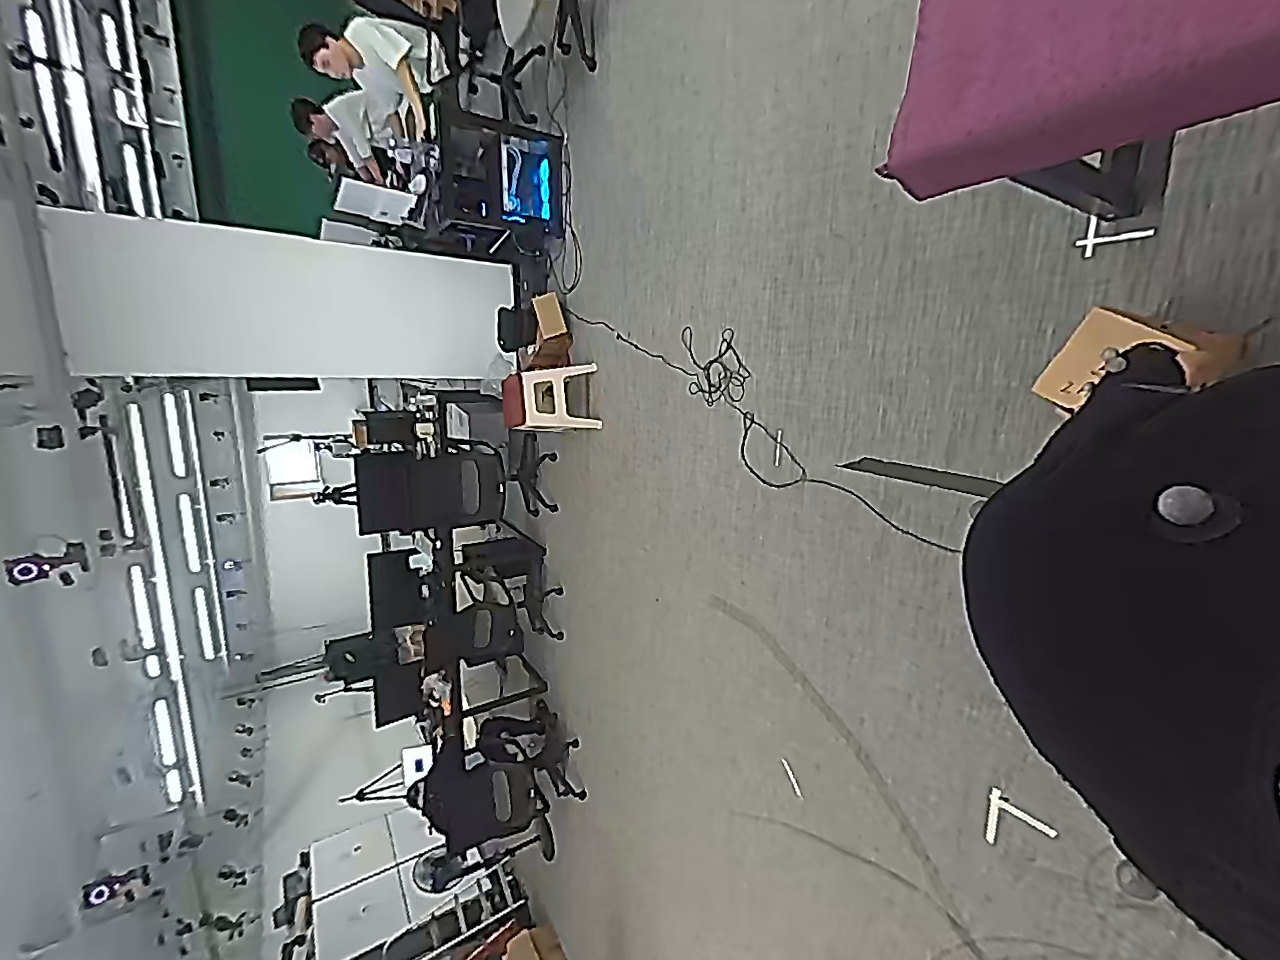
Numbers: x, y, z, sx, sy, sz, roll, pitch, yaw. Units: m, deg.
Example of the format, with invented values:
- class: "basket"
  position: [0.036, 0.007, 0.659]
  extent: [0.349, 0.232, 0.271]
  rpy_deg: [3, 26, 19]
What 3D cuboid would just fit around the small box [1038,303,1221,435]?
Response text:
- class: "small box"
  position: [0.896, -0.205, 0.990]
  extent: [0.168, 0.176, 0.179]
  rpy_deg: [52, 138, 39]
